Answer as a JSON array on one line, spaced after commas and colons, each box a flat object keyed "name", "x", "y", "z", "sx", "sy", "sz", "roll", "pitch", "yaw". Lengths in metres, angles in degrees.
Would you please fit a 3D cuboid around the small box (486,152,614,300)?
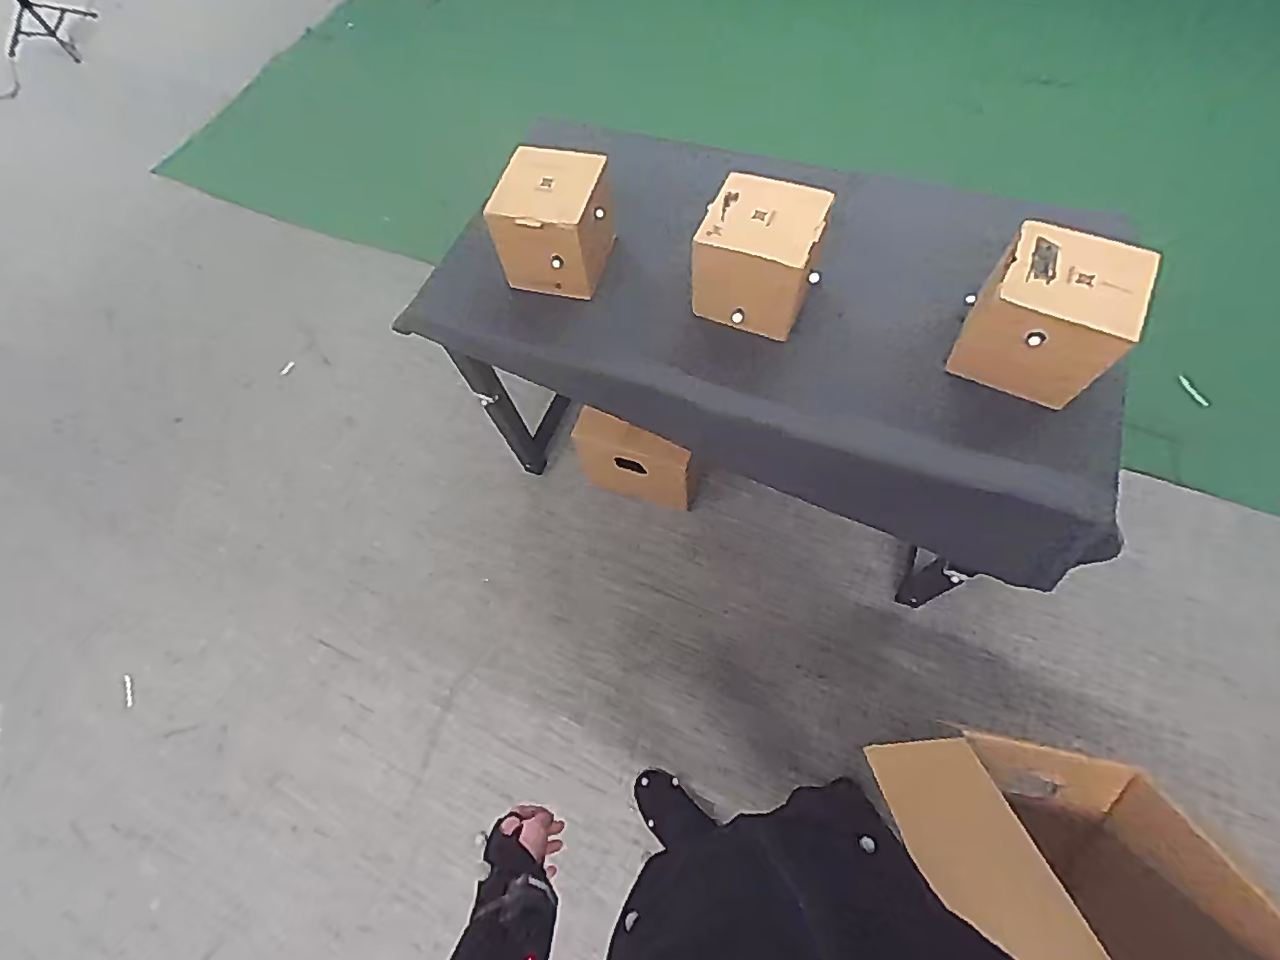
[{"name": "small box", "x": -0.151, "y": -0.456, "z": 0.985, "sx": 0.168, "sy": 0.176, "sz": 0.179, "roll": 12, "pitch": 65, "yaw": 9}]

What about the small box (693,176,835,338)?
[{"name": "small box", "x": 0.200, "y": -0.365, "z": 0.908, "sx": 0.179, "sy": 0.176, "sz": 0.168, "roll": 22, "pitch": 69, "yaw": 14}]

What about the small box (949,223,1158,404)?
[{"name": "small box", "x": 0.600, "y": -0.240, "z": 0.808, "sx": 0.179, "sy": 0.176, "sz": 0.168, "roll": 26, "pitch": 71, "yaw": 16}]
